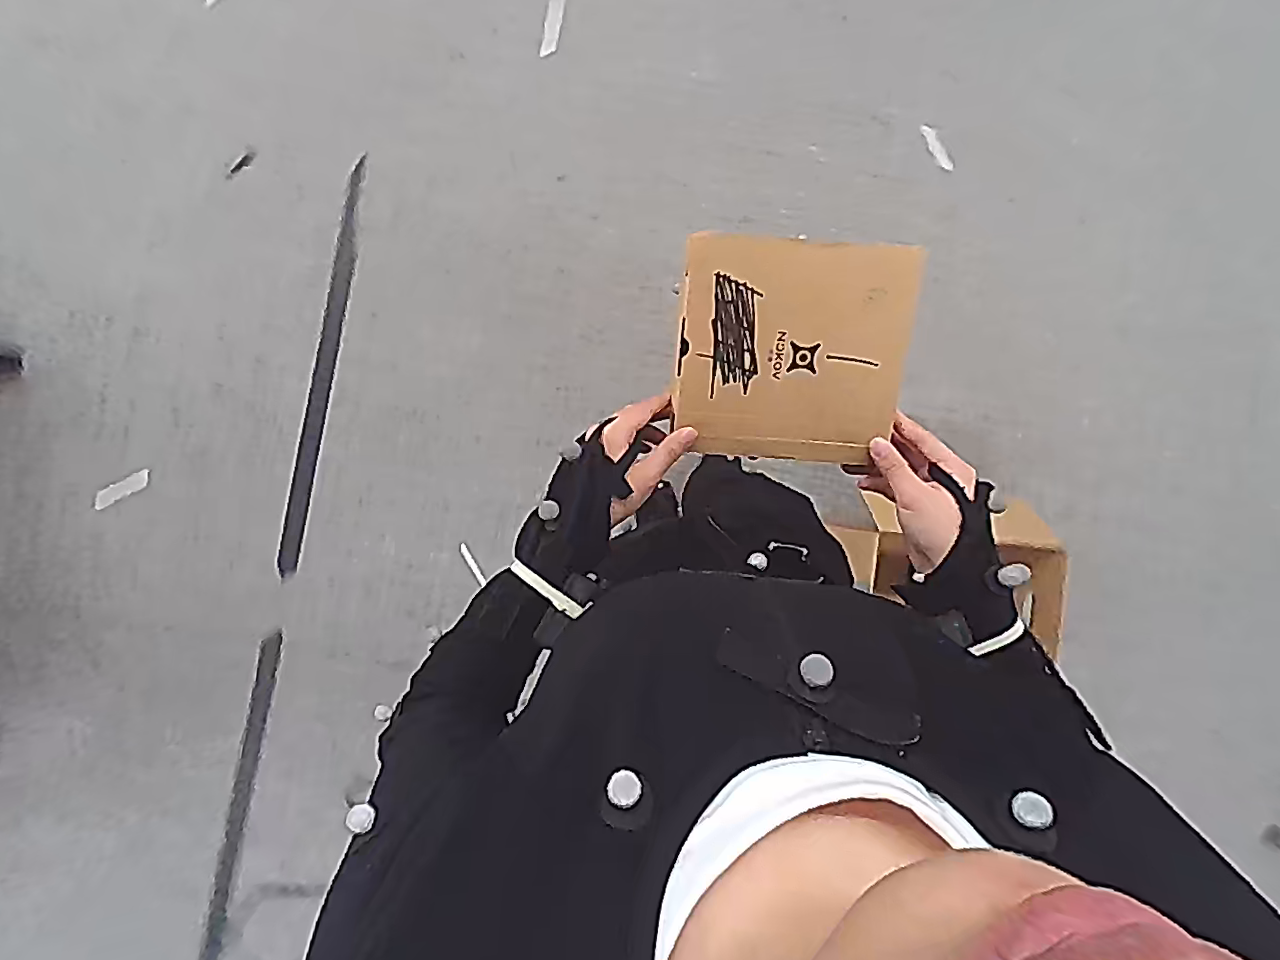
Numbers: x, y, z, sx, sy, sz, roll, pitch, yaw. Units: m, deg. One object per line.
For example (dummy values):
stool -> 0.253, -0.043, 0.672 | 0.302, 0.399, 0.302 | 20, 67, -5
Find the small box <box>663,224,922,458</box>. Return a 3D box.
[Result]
small box -> 0.116, -0.123, 0.487 | 0.179, 0.176, 0.168 | 4, 106, 3
